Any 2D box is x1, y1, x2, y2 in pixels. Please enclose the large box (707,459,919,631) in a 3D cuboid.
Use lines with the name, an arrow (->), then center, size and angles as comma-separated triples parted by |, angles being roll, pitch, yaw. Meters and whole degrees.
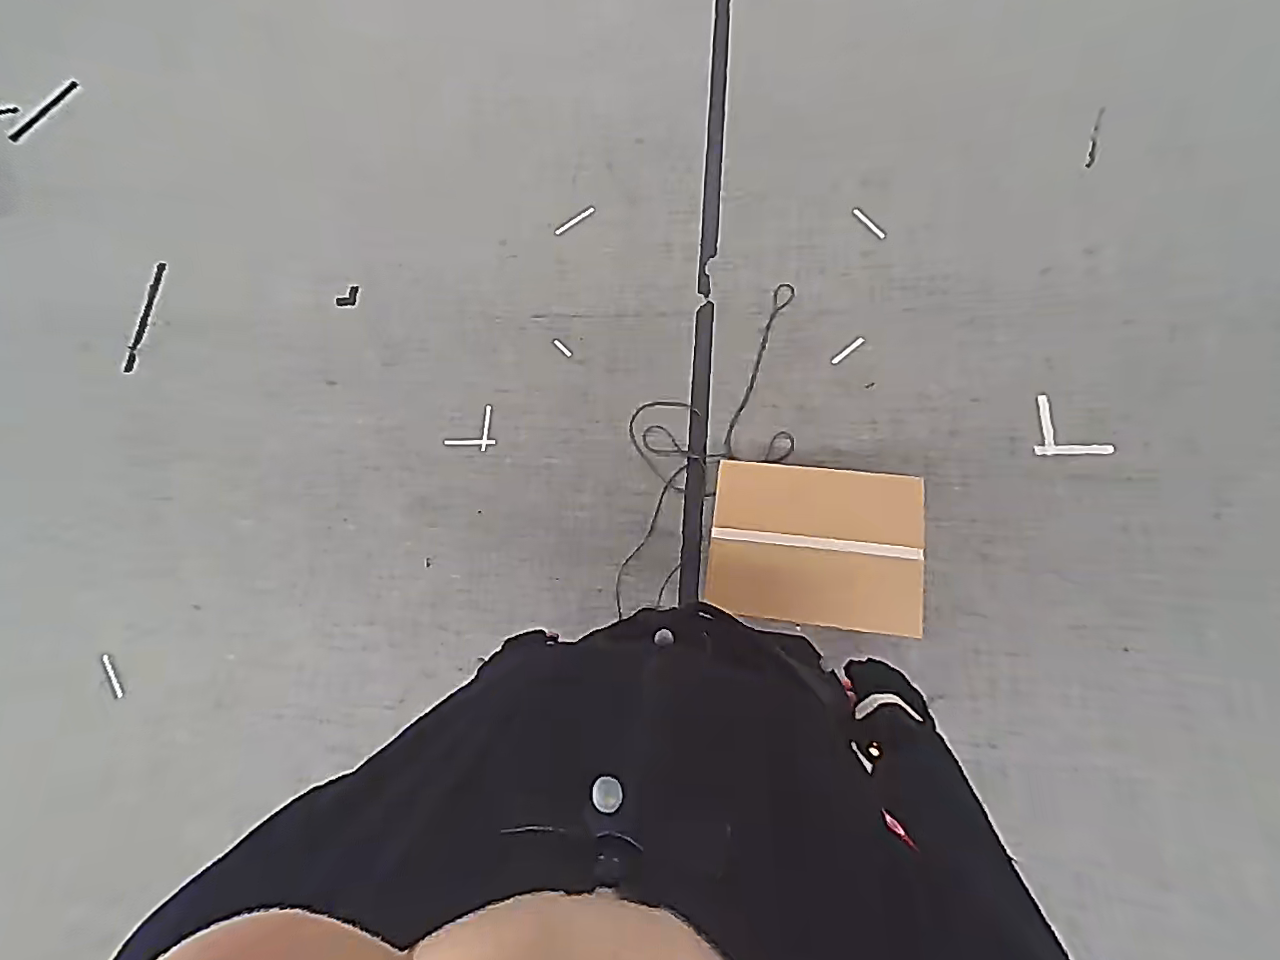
large box -> 0.363, 0.155, 1.222 | 0.408, 0.320, 0.320 | 6, 78, 9
